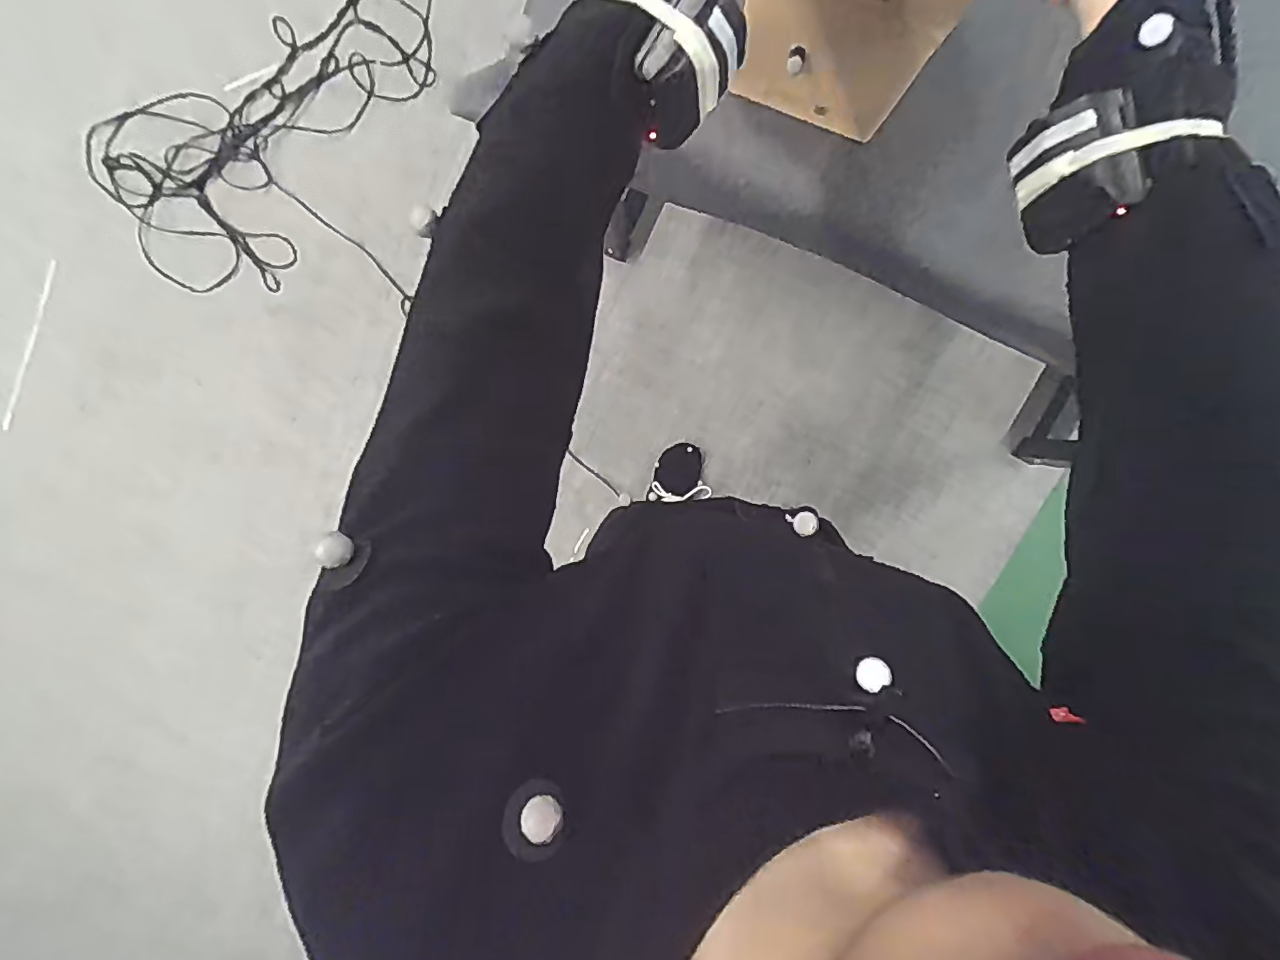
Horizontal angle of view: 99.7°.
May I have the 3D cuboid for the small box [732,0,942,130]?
[{"bbox_3d":[0.194,-0.472,0.500,0.168,0.176,0.179,21,96,-1],"label":"small box"}]
